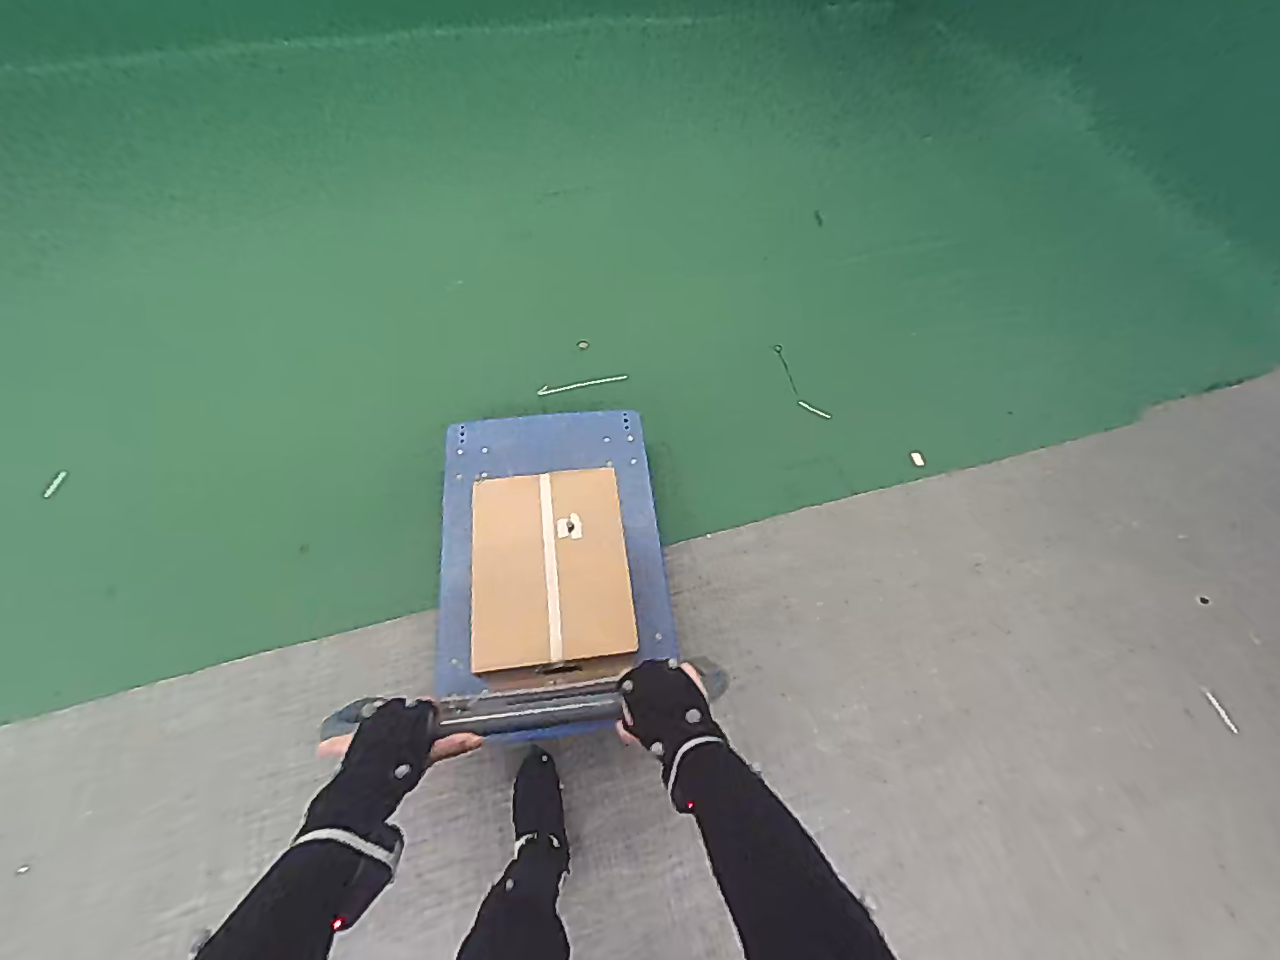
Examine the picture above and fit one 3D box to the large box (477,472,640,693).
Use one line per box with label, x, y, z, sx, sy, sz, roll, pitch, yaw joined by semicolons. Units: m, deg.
large box;-0.184;0.242;1.245;0.320;0.320;0.408;-5;61;-6
